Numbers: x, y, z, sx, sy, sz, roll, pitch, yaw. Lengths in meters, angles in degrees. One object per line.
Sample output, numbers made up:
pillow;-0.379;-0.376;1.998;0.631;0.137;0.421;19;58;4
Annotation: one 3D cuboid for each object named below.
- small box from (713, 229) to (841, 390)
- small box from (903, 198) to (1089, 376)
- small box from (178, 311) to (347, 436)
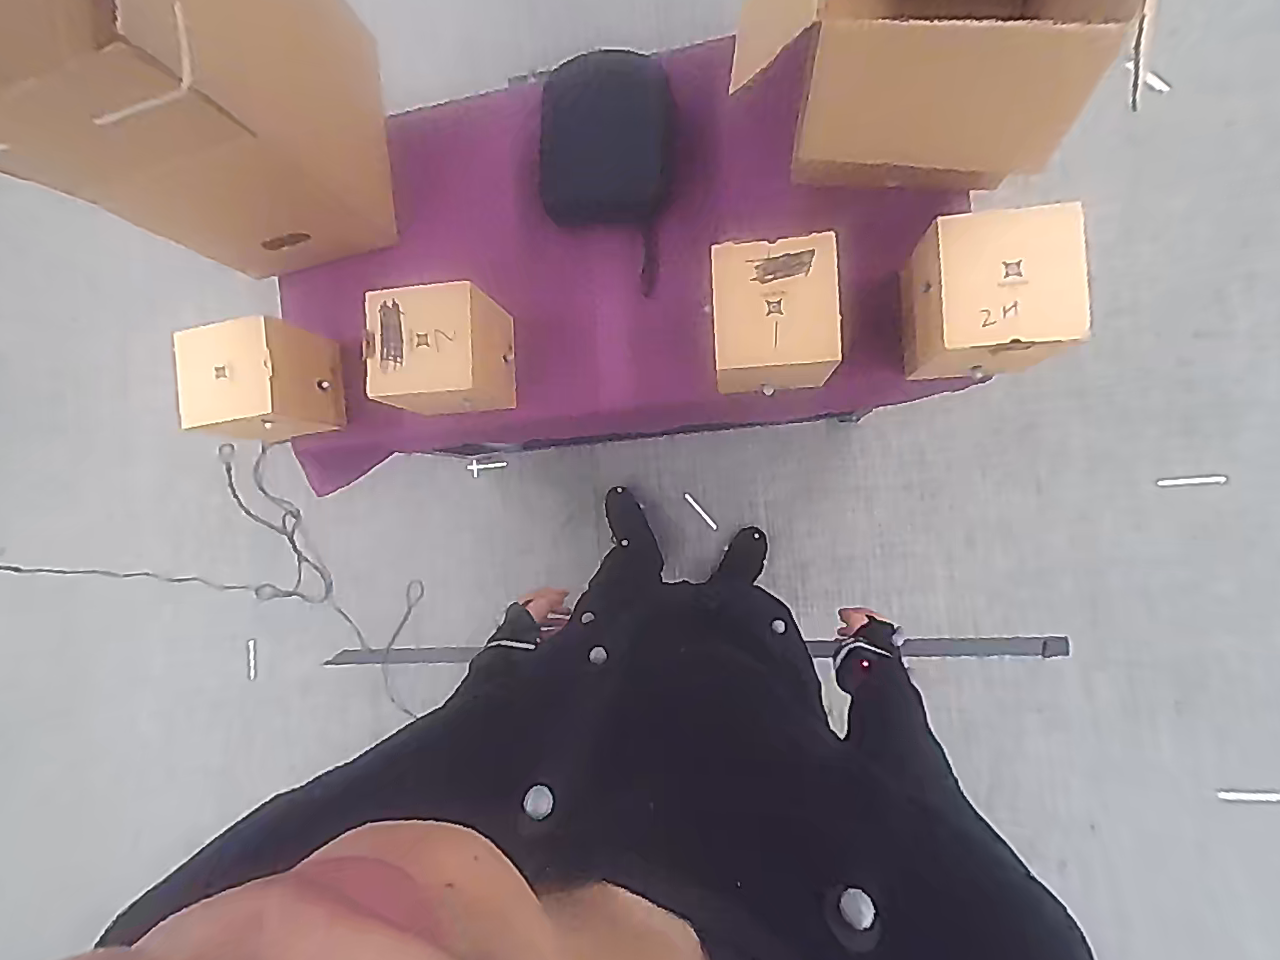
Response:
small box;0.193;-0.239;0.799;0.168;0.176;0.179;-2;89;10
small box;0.473;-0.253;0.746;0.168;0.176;0.179;-2;87;11
small box;-0.656;-0.176;0.952;0.179;0.176;0.168;-8;87;9
